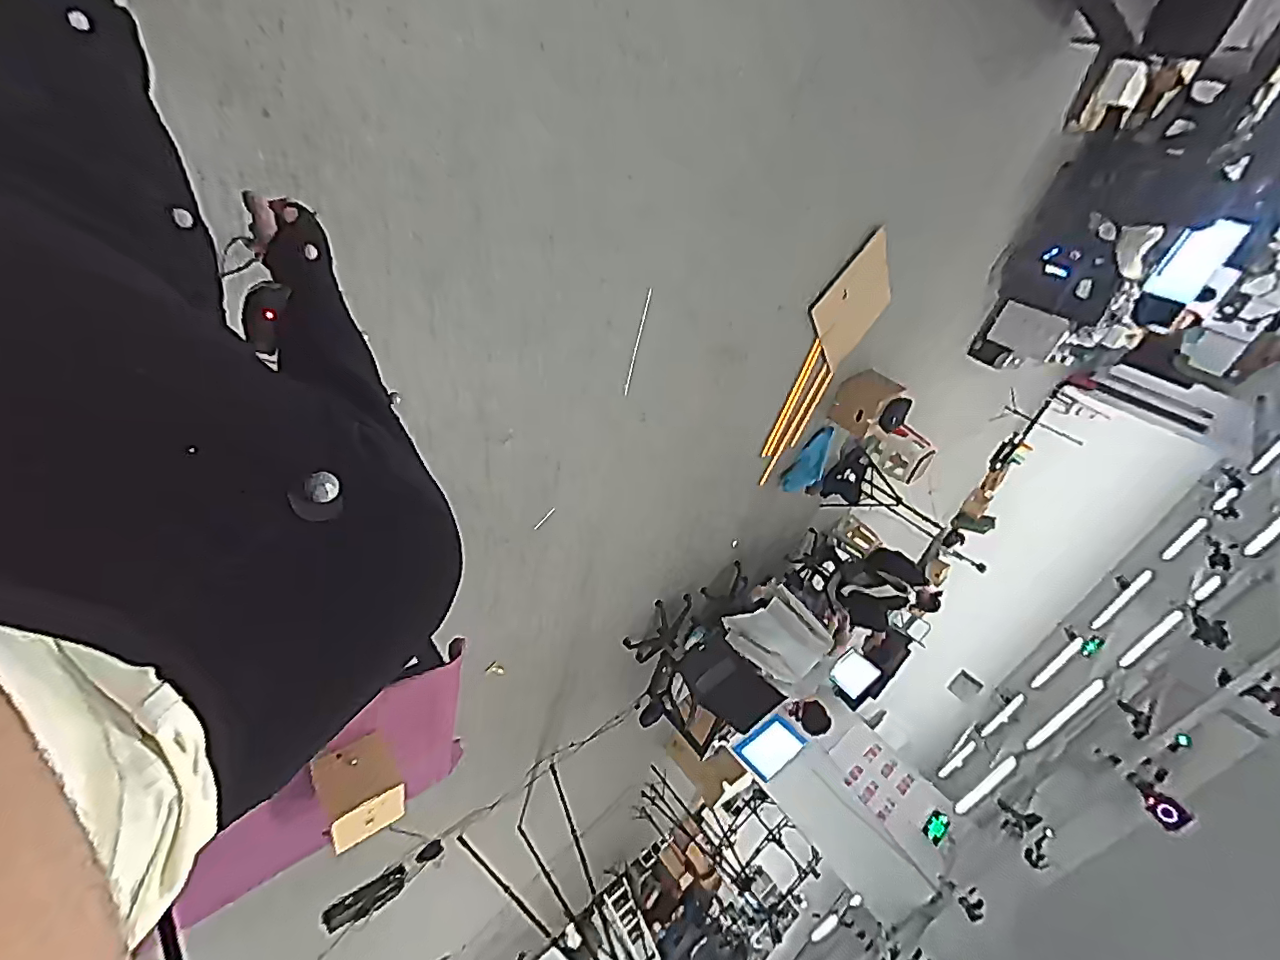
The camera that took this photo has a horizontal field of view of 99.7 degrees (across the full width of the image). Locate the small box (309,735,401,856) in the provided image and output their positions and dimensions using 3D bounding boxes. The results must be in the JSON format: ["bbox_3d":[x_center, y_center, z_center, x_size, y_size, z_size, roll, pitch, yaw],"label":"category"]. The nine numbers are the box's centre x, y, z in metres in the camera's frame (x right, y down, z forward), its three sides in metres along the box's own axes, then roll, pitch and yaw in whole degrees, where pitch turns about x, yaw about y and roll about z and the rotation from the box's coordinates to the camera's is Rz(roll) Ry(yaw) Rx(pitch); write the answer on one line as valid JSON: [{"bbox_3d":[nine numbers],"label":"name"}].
[{"bbox_3d":[-0.720,0.792,1.370,0.168,0.176,0.179,-16,134,-40],"label":"small box"}]
